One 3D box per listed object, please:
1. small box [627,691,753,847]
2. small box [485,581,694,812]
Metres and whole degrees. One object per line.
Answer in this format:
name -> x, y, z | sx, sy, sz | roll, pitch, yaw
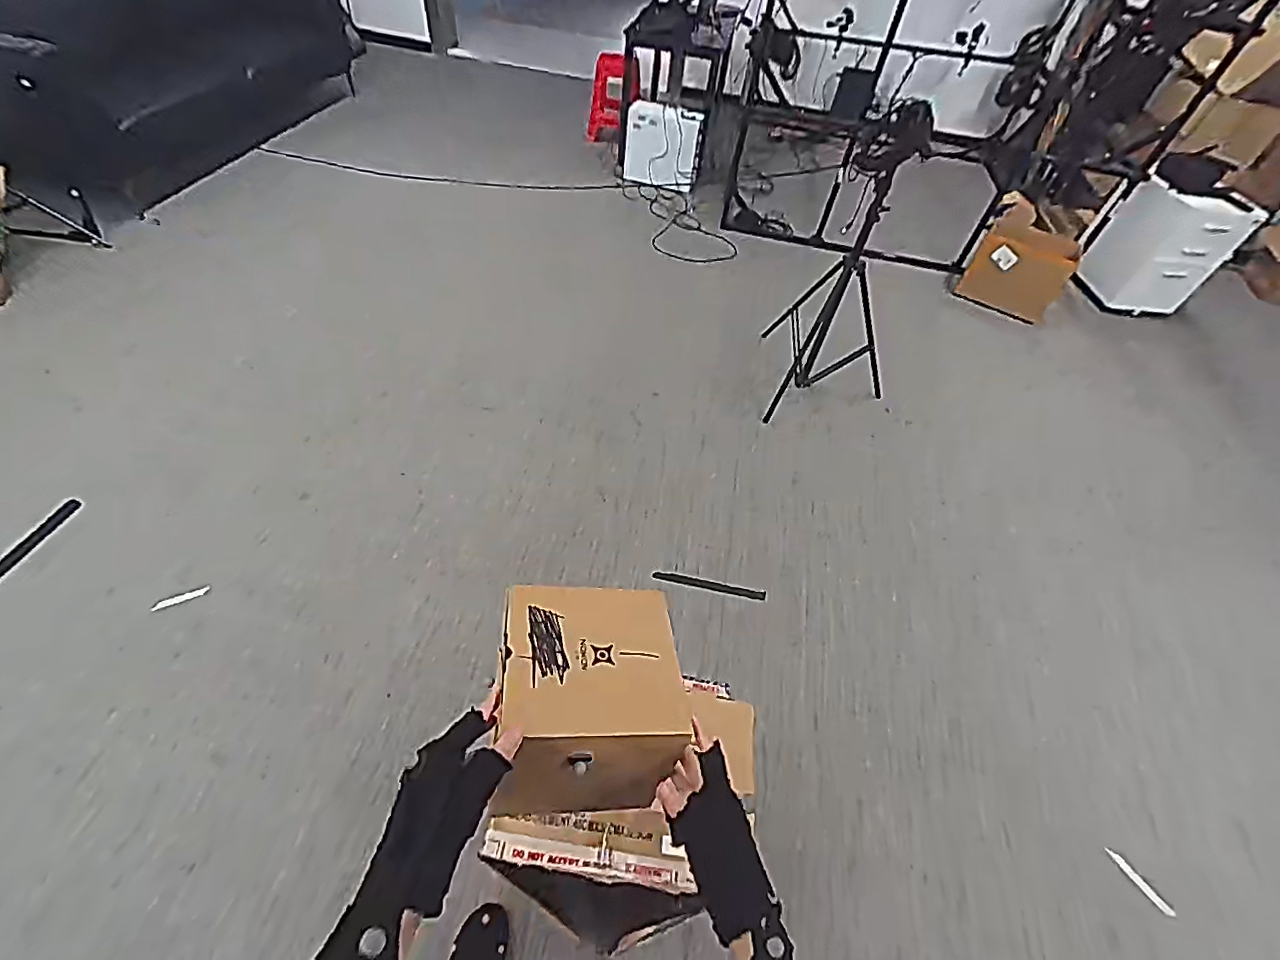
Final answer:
small box -> 0.077, 0.456, 0.860 | 0.168, 0.176, 0.179 | 10, 48, -1
small box -> -0.064, 0.227, 0.568 | 0.179, 0.176, 0.168 | 6, 38, -16
